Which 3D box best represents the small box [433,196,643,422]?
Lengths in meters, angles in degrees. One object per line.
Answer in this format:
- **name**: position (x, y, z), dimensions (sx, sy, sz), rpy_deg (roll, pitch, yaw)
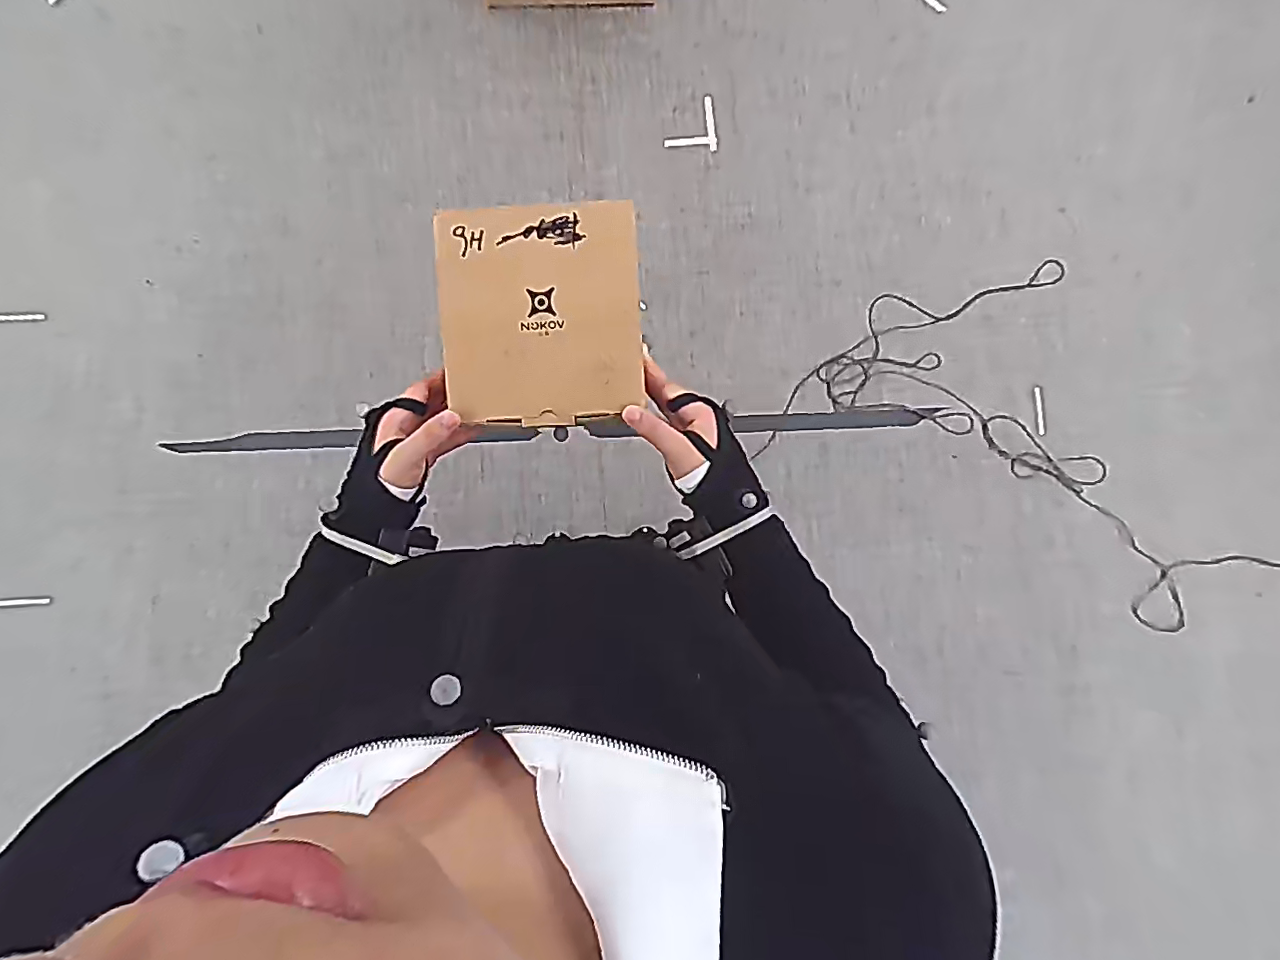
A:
- **small box**: position (-0.083, -0.148, 0.526), dimensions (0.168, 0.176, 0.179), rpy_deg (-4, 95, -1)
